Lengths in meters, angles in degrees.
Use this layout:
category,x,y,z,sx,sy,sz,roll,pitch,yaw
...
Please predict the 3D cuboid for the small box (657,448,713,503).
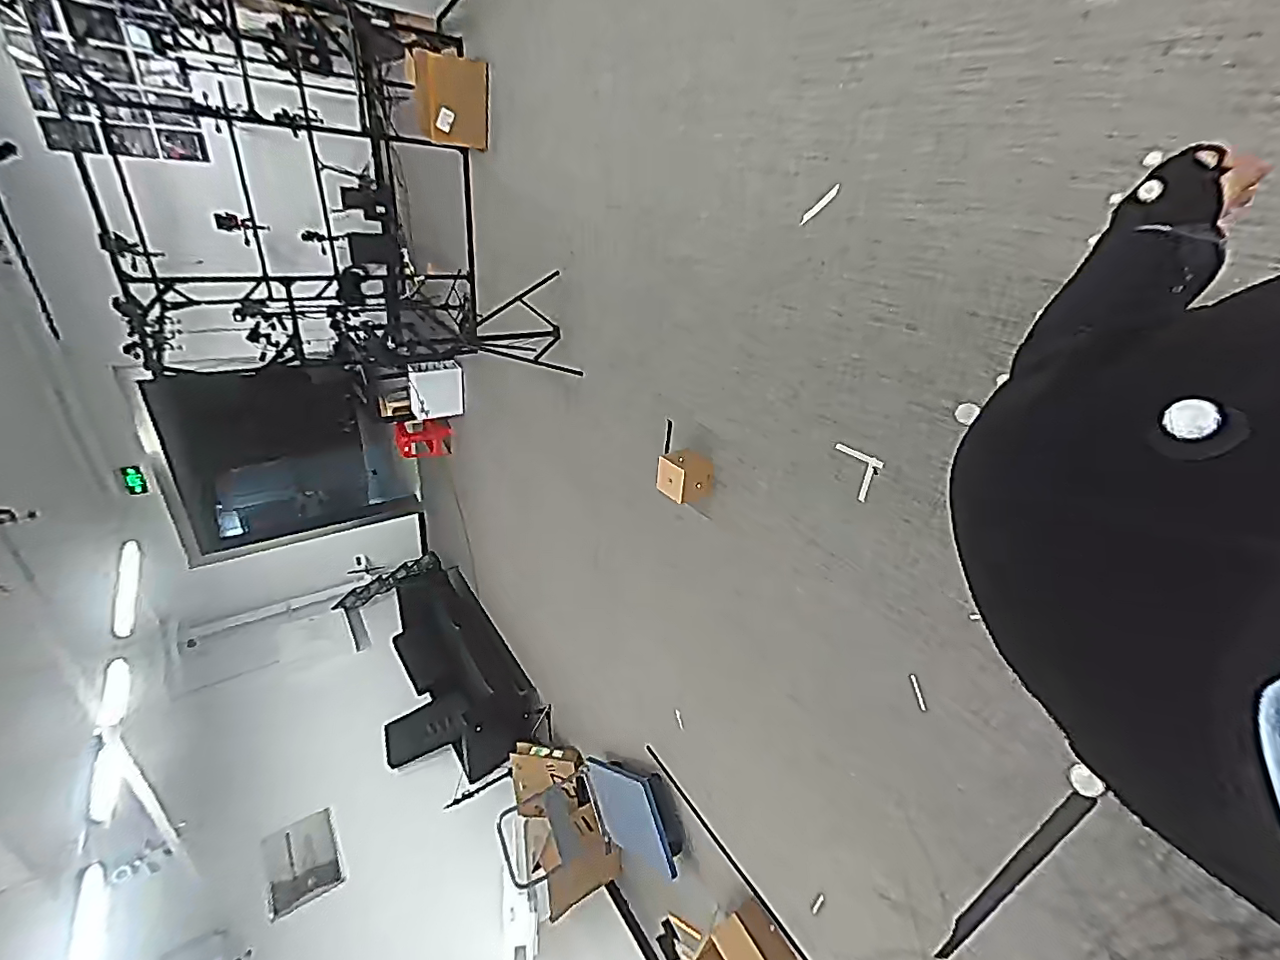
category,x,y,z,sx,sy,sz,roll,pitch,yaw
small box,0.200,-0.027,2.368,0.179,0.176,0.168,37,131,45
